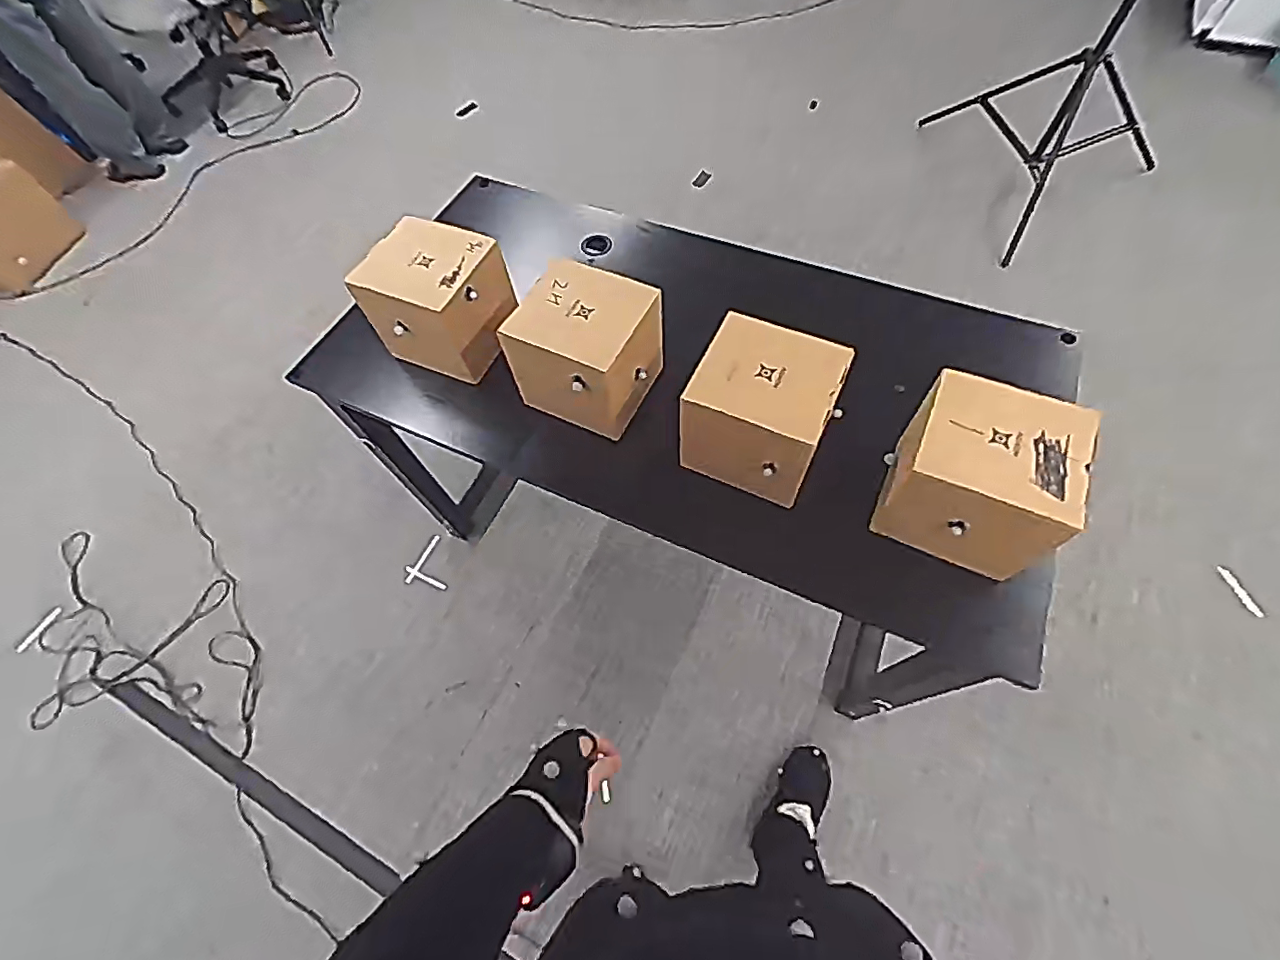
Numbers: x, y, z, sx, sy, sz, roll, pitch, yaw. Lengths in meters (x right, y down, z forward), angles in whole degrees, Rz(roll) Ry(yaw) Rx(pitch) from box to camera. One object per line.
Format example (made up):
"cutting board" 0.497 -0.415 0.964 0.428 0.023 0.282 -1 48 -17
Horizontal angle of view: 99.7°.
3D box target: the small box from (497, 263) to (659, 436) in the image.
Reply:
"small box" -0.080 -0.190 0.824 0.179 0.176 0.168 23 65 15

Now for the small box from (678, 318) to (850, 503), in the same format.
"small box" 0.165 -0.089 0.756 0.179 0.176 0.168 21 64 16

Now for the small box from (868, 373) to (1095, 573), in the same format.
"small box" 0.420 0.000 0.687 0.179 0.176 0.168 22 65 17

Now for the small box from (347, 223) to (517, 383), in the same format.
"small box" -0.327 -0.286 0.893 0.179 0.176 0.168 19 65 14
